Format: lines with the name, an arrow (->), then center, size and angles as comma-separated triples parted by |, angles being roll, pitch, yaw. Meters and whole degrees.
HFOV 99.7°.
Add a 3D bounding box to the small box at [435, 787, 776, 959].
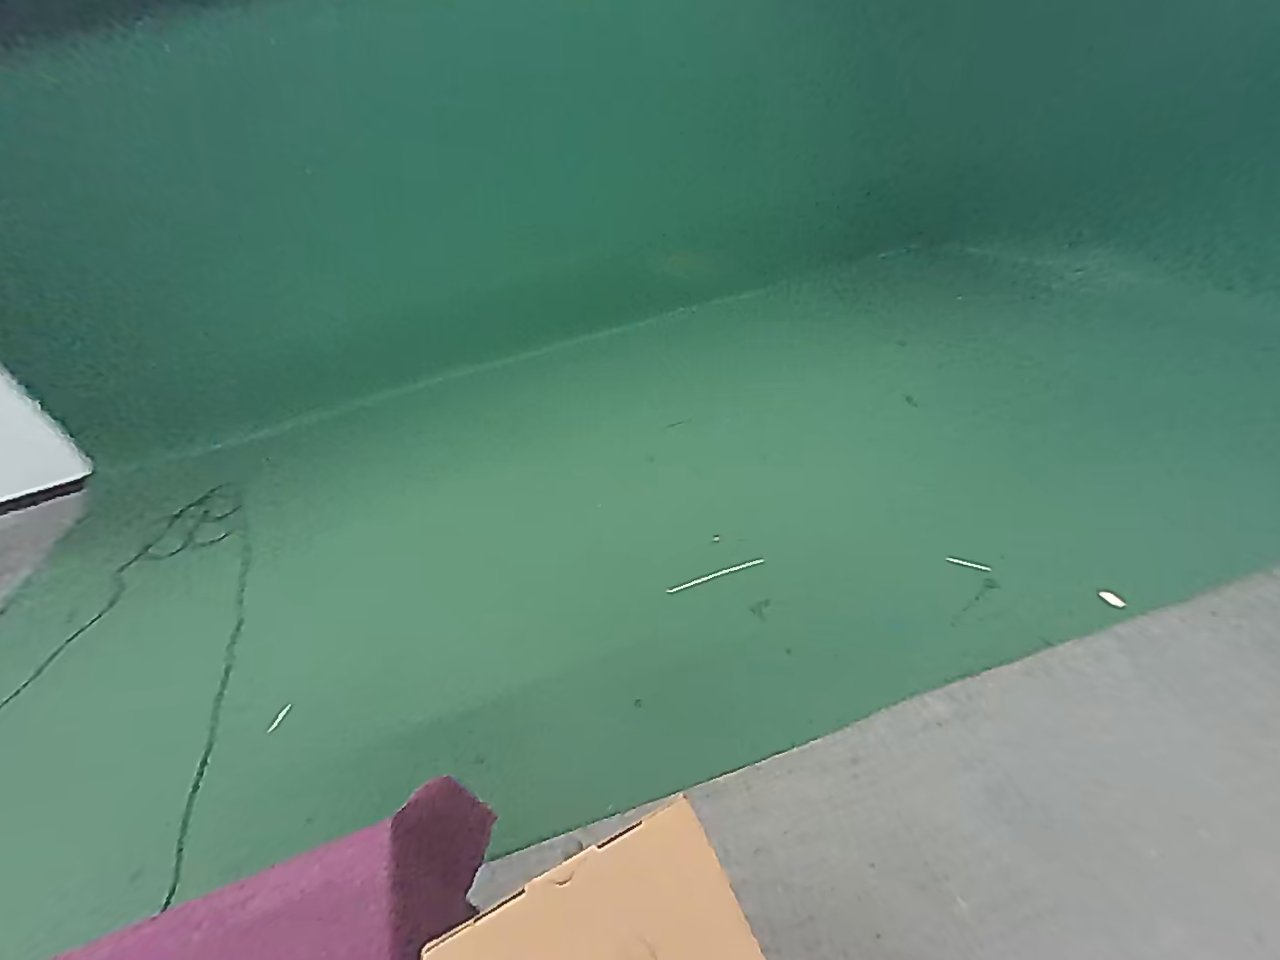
small box -> -0.002, 0.326, 0.329 | 0.168, 0.176, 0.179 | -22, 56, -14
